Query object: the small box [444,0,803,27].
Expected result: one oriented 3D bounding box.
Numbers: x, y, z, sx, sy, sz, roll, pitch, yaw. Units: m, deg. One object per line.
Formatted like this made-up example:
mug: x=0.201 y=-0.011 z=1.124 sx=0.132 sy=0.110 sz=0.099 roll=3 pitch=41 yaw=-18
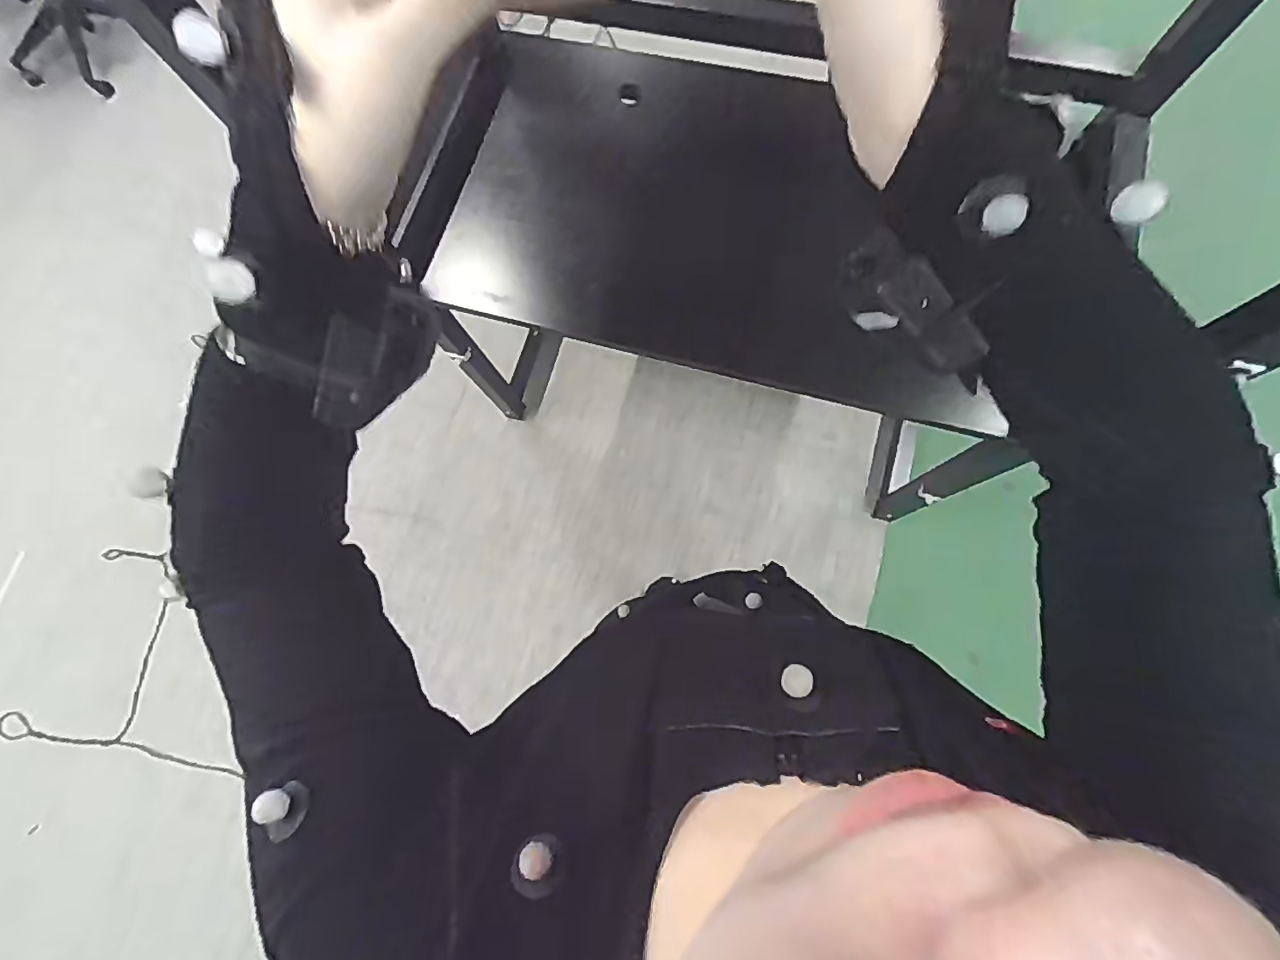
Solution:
small box: x=-0.012 y=-0.243 z=0.121 sx=0.168 sy=0.176 sz=0.179 roll=-2 pitch=106 yaw=6
